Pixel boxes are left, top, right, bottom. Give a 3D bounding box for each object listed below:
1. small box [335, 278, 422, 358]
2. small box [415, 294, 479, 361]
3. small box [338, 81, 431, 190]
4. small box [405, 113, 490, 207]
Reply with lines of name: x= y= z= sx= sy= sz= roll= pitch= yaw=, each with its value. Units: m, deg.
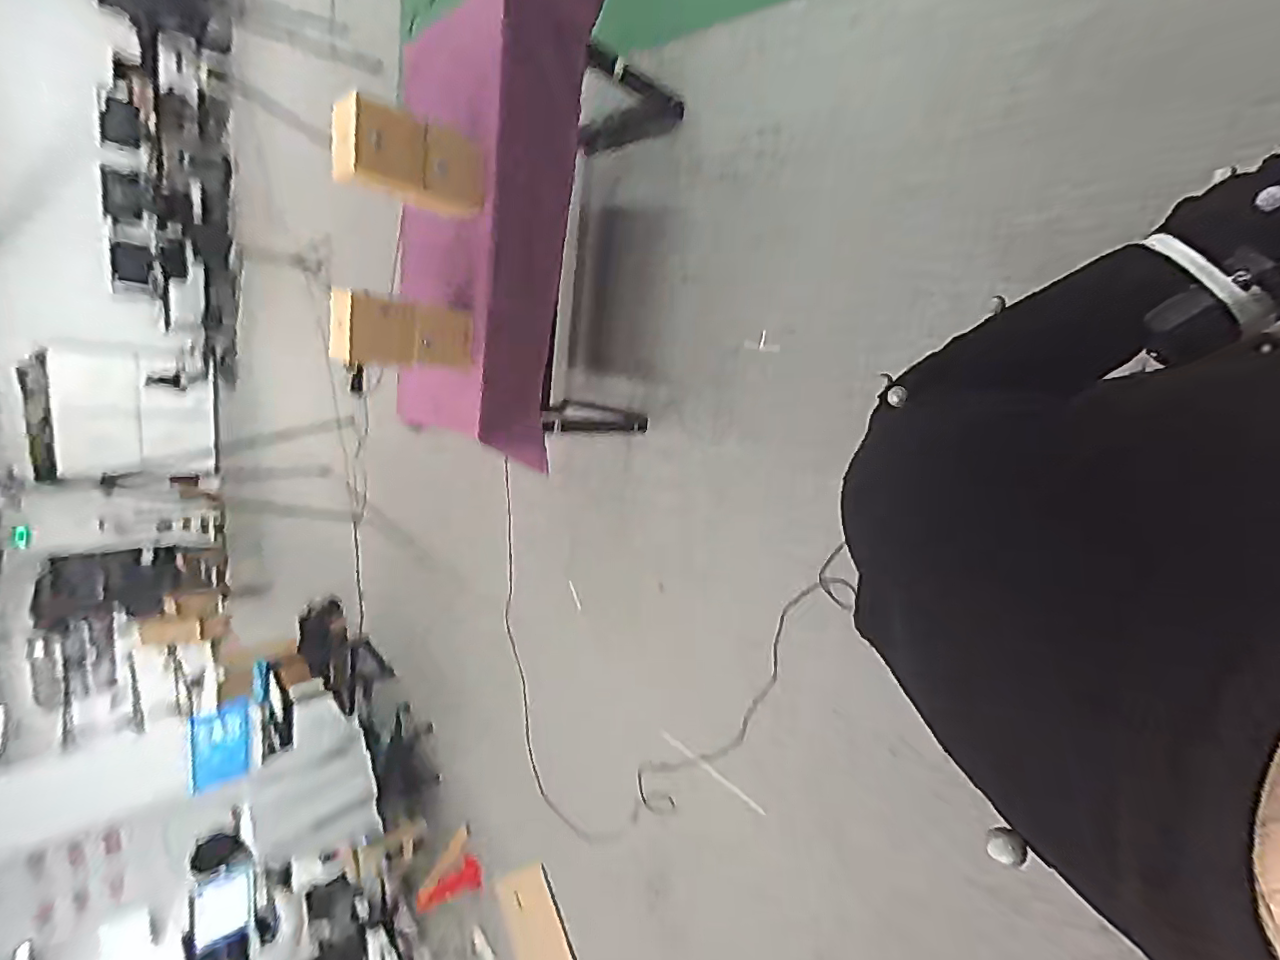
small box: x=-0.708 y=-0.436 z=1.466 sx=0.168 sy=0.176 sz=0.179 roll=23 pitch=110 yaw=42
small box: x=-0.592 y=-0.445 z=1.582 sx=0.179 sy=0.176 sz=0.168 roll=22 pitch=109 yaw=42
small box: x=-0.641 y=-0.858 z=1.365 sx=0.168 sy=0.176 sz=0.179 roll=20 pitch=108 yaw=42
small box: x=-0.527 y=-0.864 z=1.481 sx=0.168 sy=0.176 sz=0.179 roll=21 pitch=107 yaw=42
